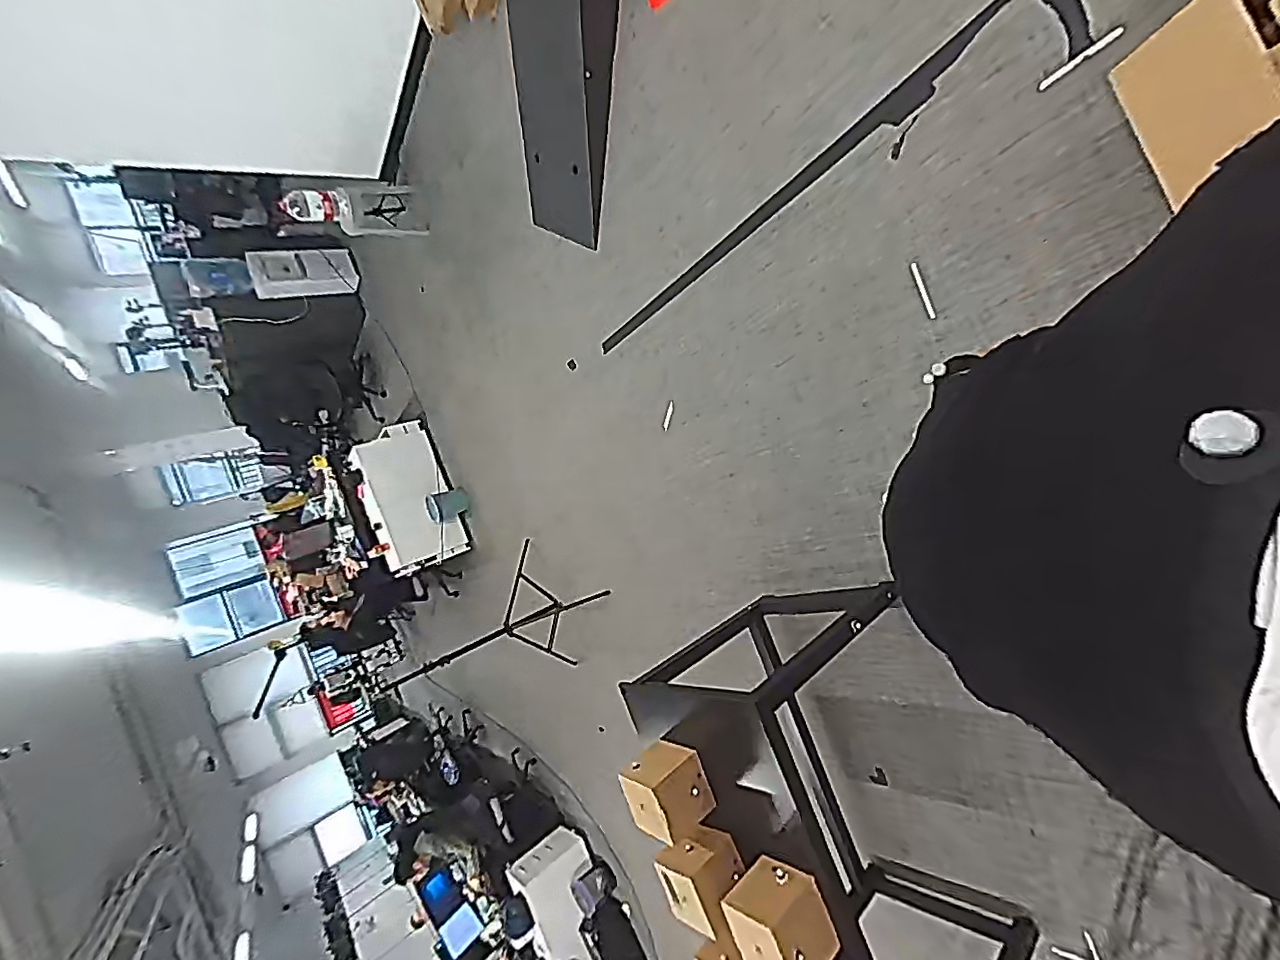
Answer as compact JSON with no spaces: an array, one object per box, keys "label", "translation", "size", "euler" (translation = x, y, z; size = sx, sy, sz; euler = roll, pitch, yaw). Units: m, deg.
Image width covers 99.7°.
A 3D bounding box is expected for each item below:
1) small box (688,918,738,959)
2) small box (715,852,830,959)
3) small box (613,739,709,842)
[{"label":"small box","translation":[0.267,1.341,1.474],"size":[0.179,0.176,0.168],"euler":[-21,90,53]},{"label":"small box","translation":[0.315,1.033,1.270],"size":[0.168,0.176,0.179],"euler":[-24,86,53]},{"label":"small box","translation":[0.059,0.848,1.501],"size":[0.179,0.176,0.168],"euler":[-19,92,53]}]
